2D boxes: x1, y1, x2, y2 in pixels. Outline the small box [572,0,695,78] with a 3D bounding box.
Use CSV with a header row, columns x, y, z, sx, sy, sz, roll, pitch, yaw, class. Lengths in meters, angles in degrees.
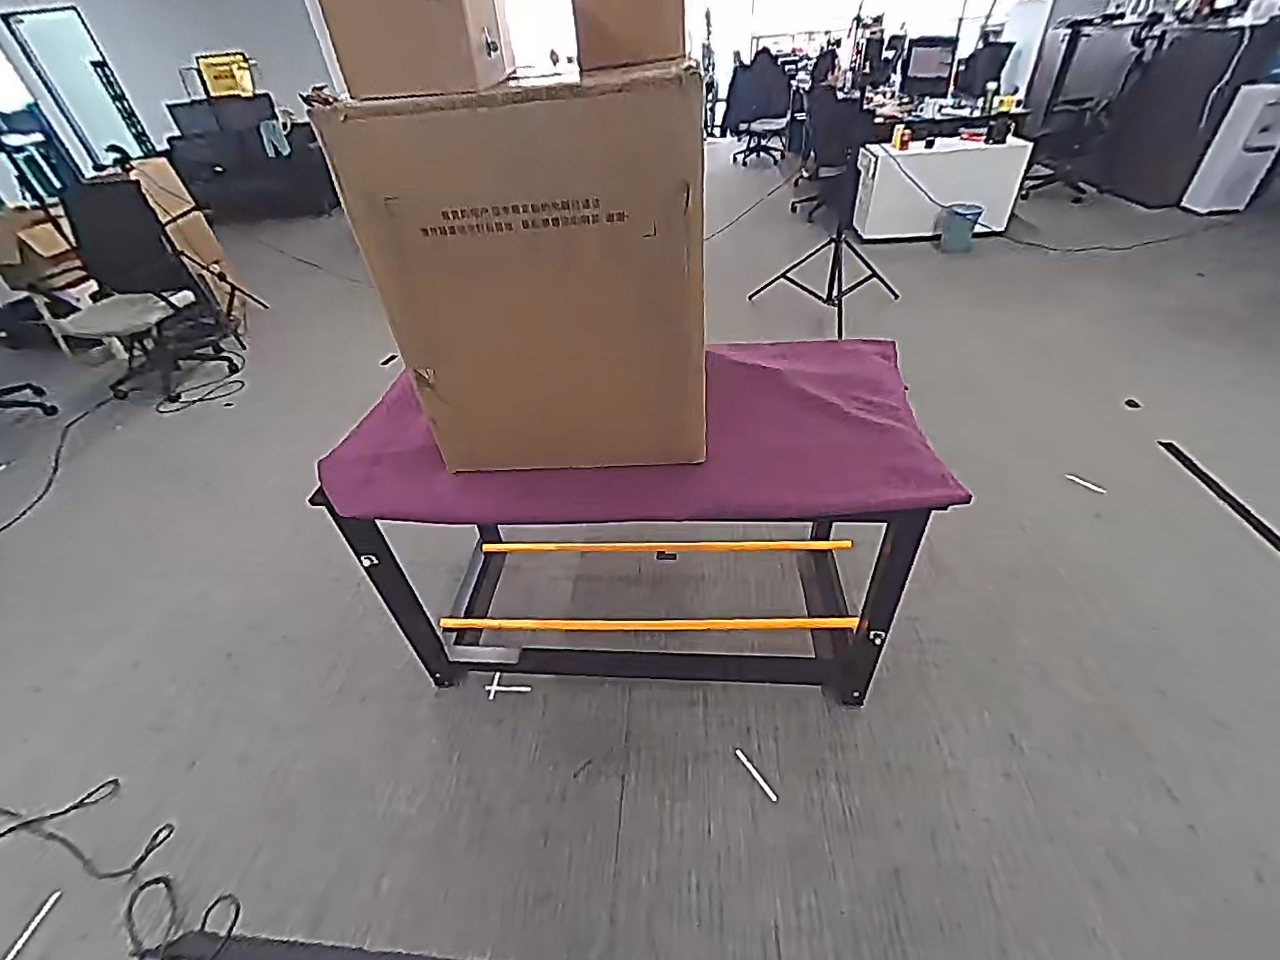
x,y,z,sx,sy,sz,roll,pitch,yaw,class
-0.005,-0.757,0.857,0.179,0.176,0.168,1,40,10,small box
